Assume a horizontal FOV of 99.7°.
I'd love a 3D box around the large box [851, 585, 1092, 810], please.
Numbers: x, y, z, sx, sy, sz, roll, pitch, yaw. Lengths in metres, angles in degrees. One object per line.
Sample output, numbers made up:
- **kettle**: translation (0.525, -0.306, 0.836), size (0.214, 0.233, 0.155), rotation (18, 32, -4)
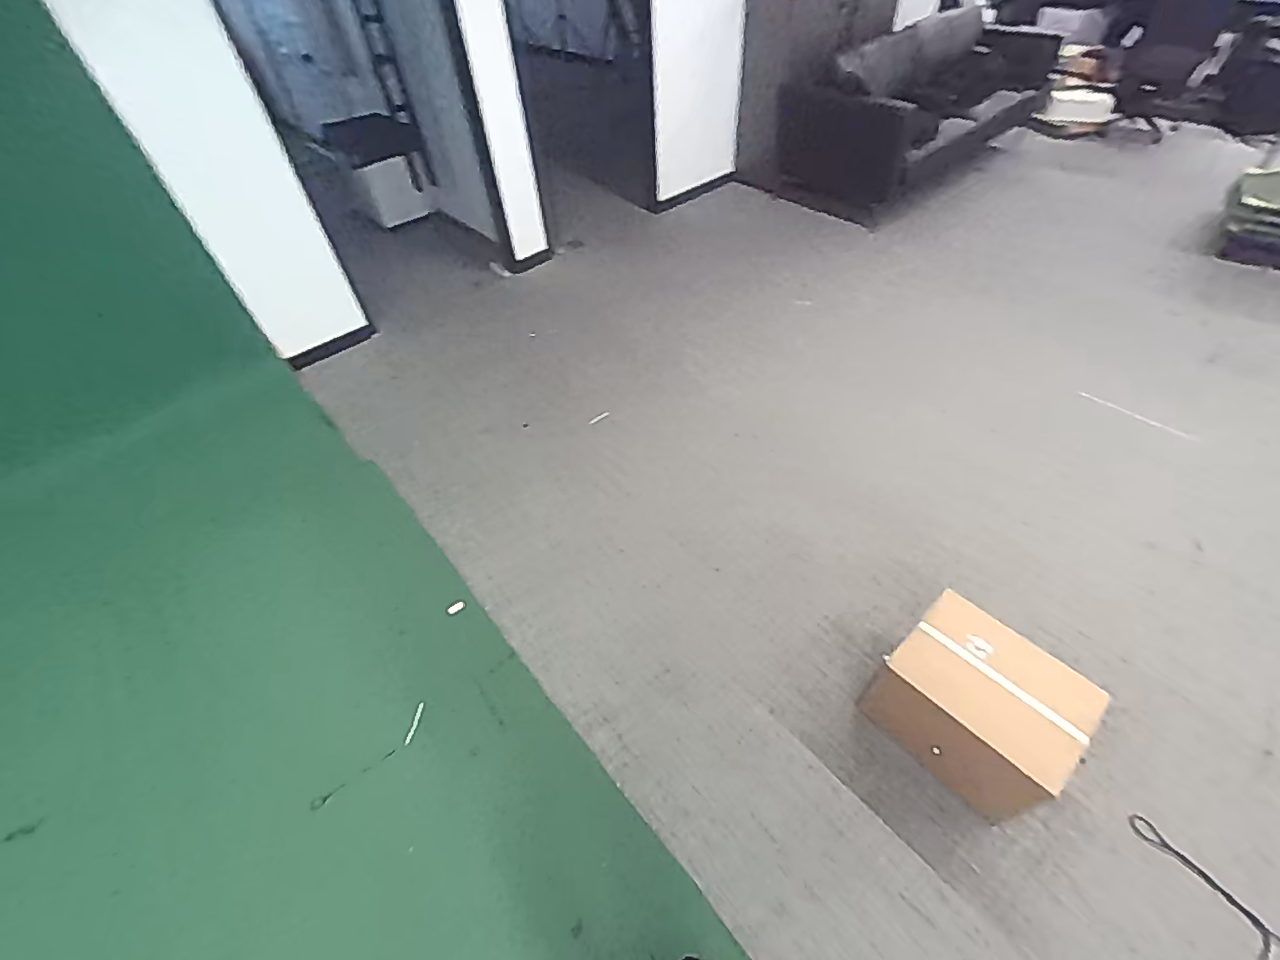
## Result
- **large box**: translation (0.846, 0.569, 1.432), size (0.320, 0.320, 0.408), rotation (-36, 54, -26)
